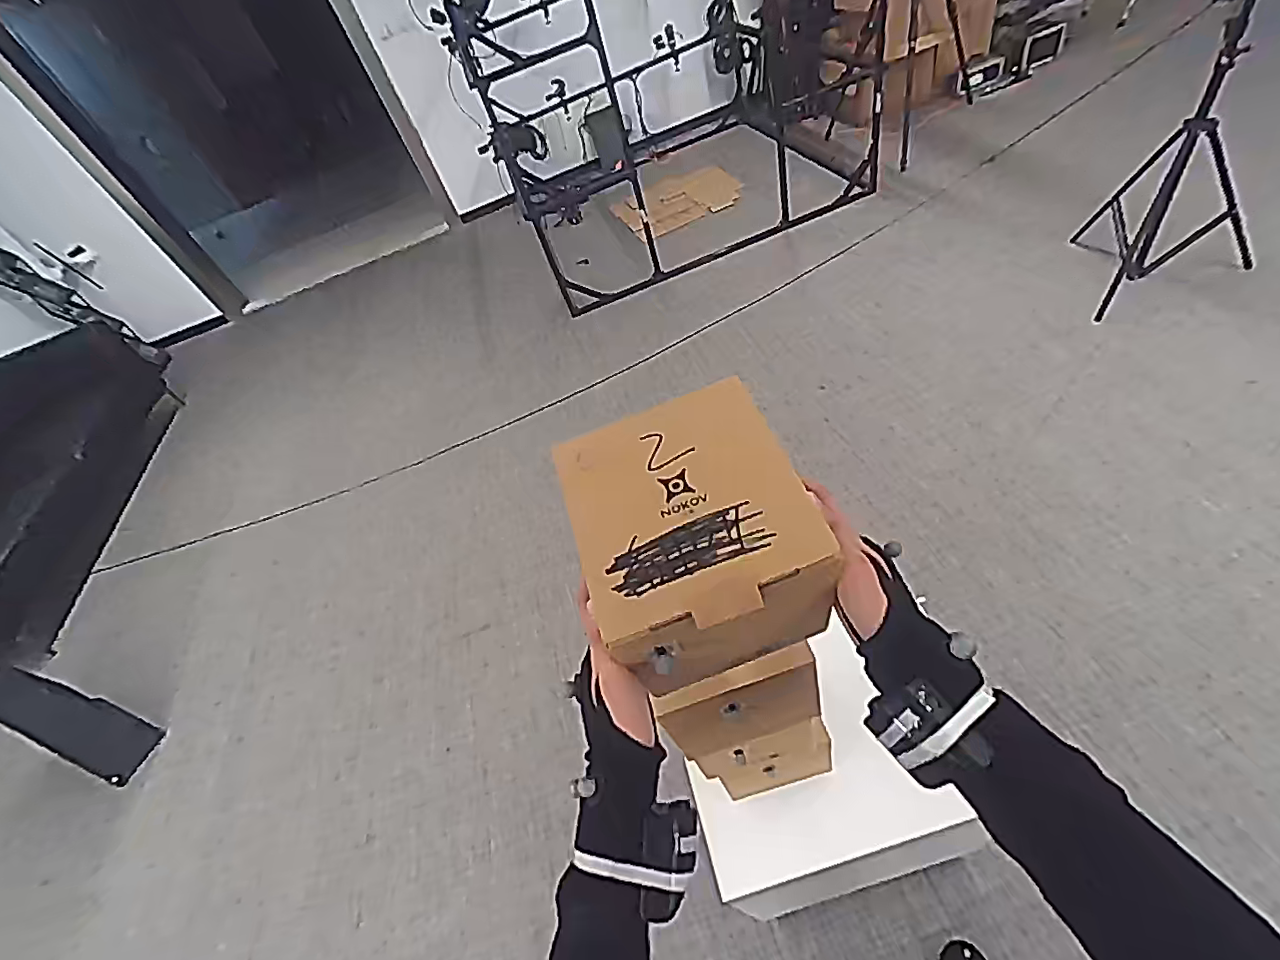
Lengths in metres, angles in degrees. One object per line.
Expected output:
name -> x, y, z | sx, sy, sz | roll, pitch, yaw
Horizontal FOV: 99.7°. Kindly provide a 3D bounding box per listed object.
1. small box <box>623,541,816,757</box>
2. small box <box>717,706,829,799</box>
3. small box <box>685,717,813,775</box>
small box -> 0.098, 0.209, 0.655 | 0.179, 0.176, 0.168 | -20, 46, 2
small box -> 0.200, 0.404, 0.898 | 0.179, 0.176, 0.168 | -19, 46, 2
small box -> 0.140, 0.306, 0.782 | 0.168, 0.176, 0.179 | -18, 45, 4
